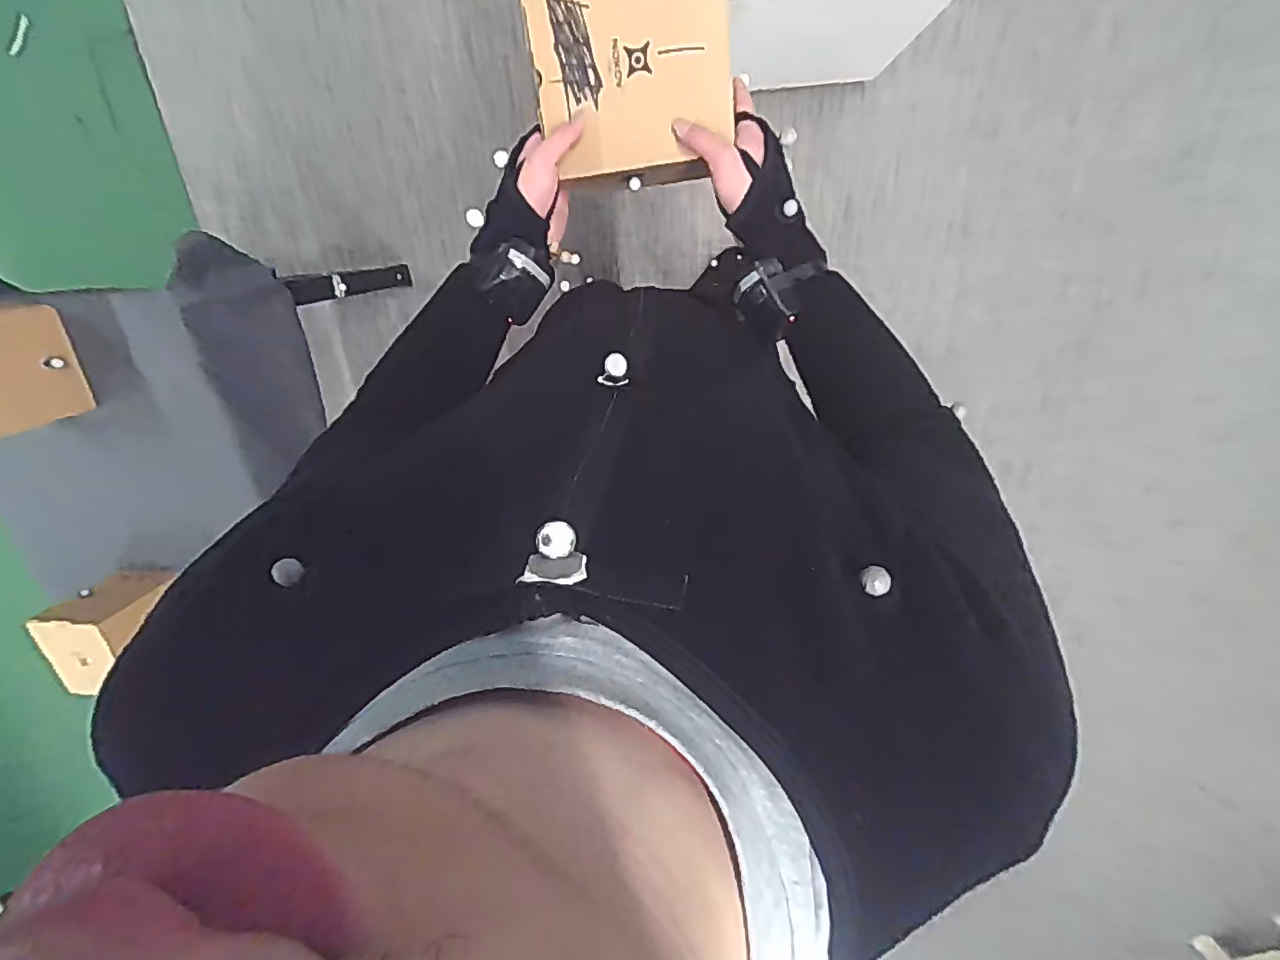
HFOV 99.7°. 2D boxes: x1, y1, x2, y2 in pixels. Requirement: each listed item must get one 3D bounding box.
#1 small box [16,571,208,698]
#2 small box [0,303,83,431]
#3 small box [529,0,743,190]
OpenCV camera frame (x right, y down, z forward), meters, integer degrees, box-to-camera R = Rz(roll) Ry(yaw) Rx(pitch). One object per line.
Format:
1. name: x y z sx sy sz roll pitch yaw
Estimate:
1. small box: -1.005 0.292 1.049 0.168 0.176 0.179 0 117 10
2. small box: -1.035 -0.174 0.824 0.168 0.176 0.179 4 116 6
3. small box: 0.009 -0.388 0.526 0.179 0.176 0.168 -3 114 9
